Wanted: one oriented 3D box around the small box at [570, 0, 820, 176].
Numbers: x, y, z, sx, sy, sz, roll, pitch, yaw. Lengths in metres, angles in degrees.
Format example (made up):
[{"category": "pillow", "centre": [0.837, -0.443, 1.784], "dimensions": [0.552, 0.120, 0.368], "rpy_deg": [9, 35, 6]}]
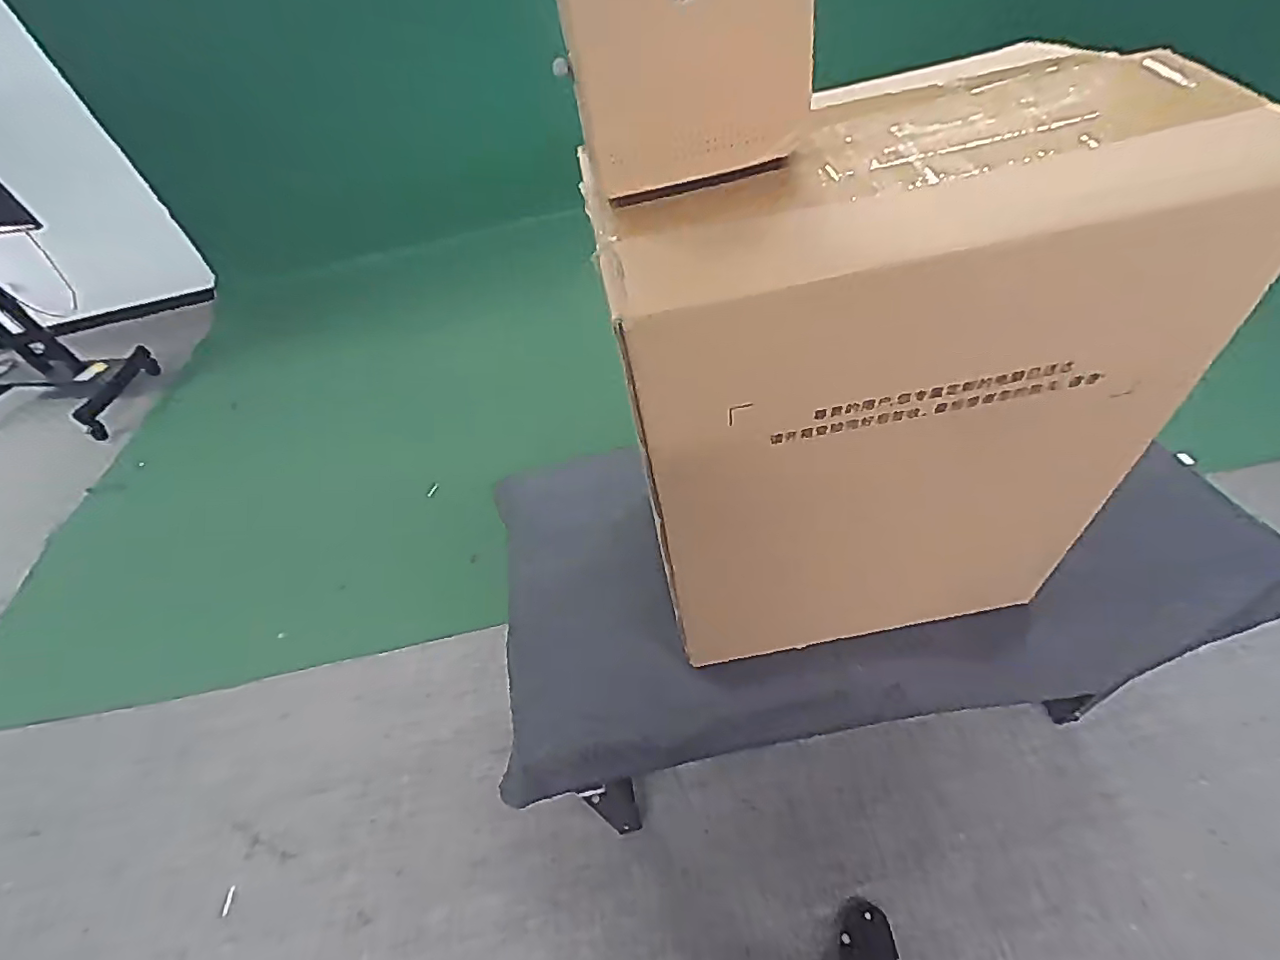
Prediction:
[{"category": "small box", "centre": [0.038, -0.367, 0.443], "dimensions": [0.179, 0.176, 0.168], "rpy_deg": [-11, 42, -2]}]
